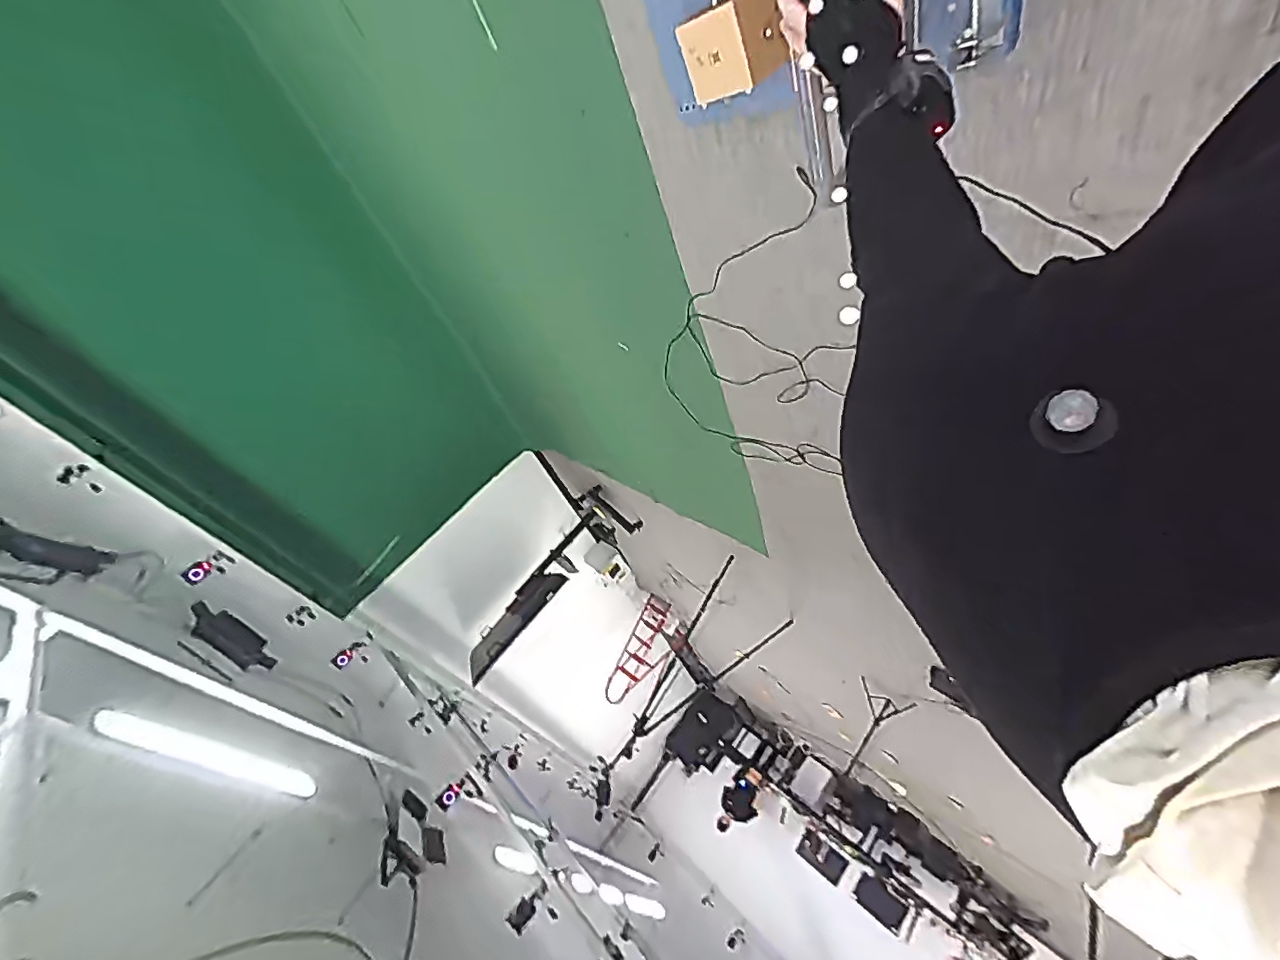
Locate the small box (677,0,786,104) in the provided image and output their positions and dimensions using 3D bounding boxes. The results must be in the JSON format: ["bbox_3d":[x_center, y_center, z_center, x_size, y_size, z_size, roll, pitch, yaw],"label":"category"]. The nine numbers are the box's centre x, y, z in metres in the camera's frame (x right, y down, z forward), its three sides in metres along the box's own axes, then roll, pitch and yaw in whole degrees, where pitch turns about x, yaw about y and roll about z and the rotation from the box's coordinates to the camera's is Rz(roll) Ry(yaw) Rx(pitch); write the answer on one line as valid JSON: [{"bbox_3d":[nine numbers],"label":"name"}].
[{"bbox_3d":[0.225,-1.038,1.282,0.179,0.176,0.168,21,150,45],"label":"small box"}]
